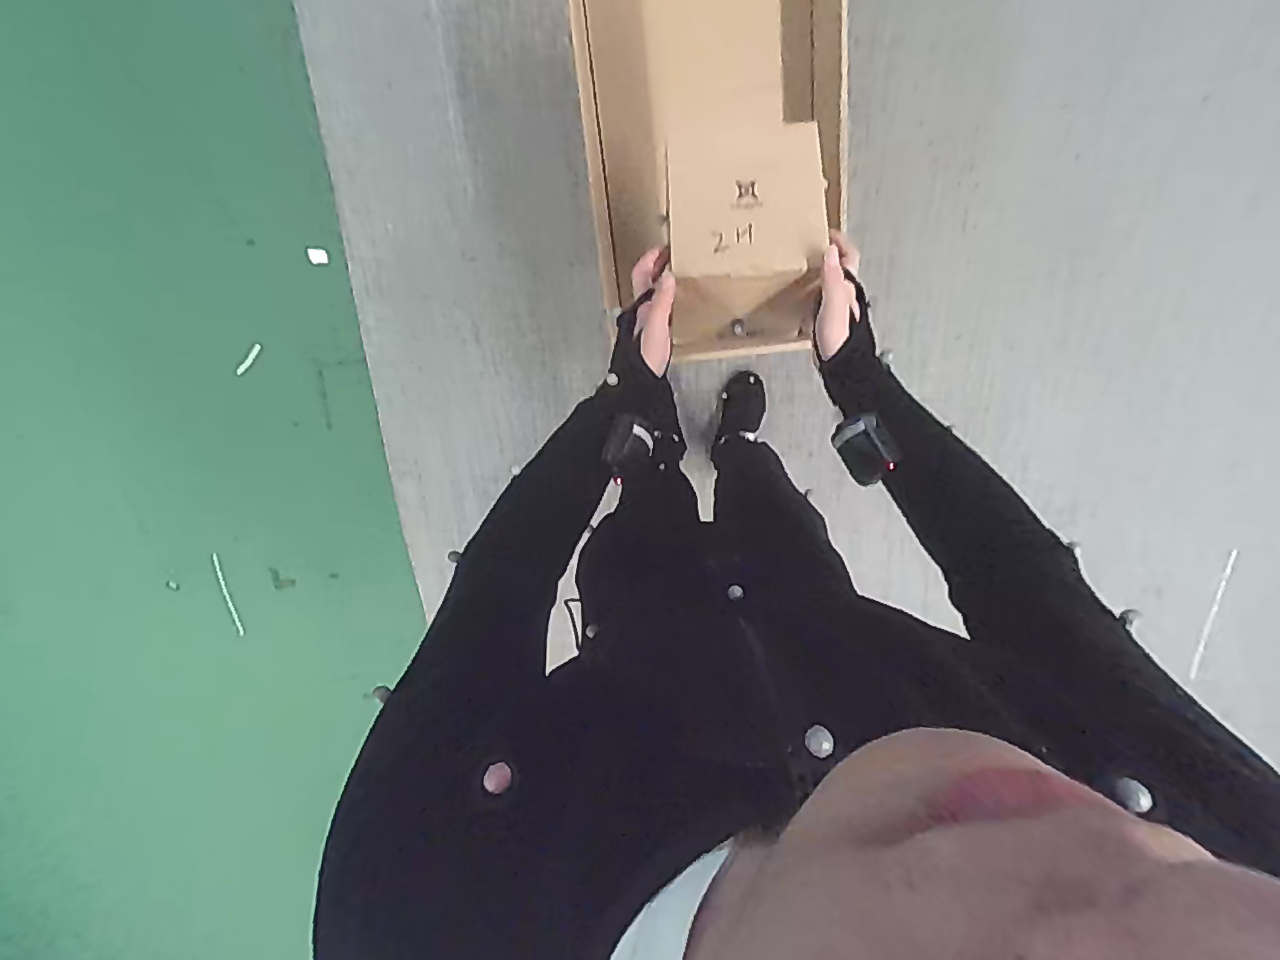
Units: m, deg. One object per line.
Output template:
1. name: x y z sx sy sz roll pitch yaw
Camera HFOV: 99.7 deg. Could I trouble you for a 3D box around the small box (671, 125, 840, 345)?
1. small box: 0.123 -0.278 0.644 0.168 0.176 0.179 -3 80 3
